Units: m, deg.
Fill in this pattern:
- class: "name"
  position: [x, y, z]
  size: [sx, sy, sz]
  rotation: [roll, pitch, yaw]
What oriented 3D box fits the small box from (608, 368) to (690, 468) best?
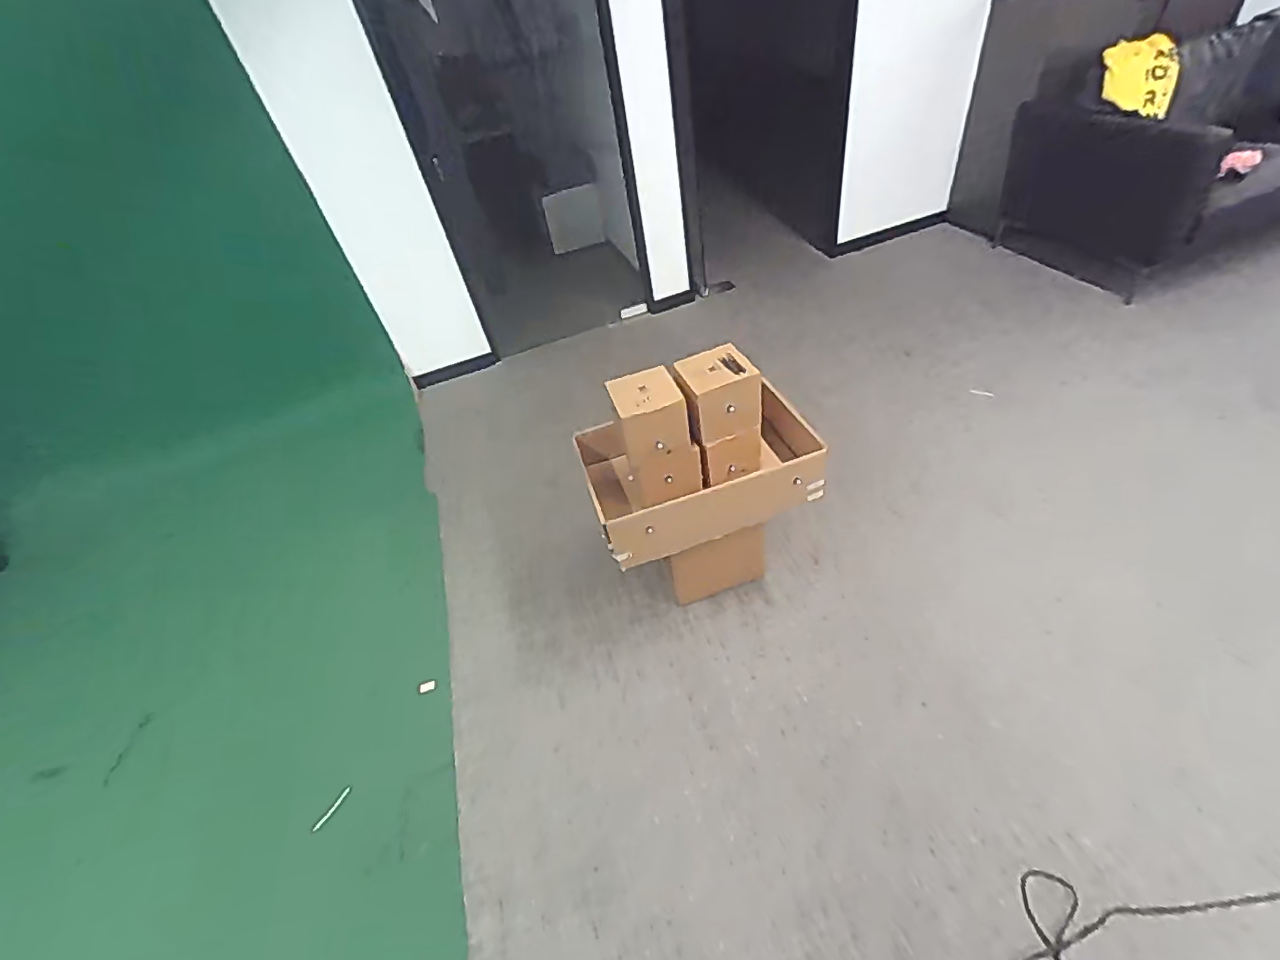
- class: "small box"
  position: [0.025, -0.162, 1.414]
  size: [0.168, 0.176, 0.179]
  rotation: [-17, 43, -6]
